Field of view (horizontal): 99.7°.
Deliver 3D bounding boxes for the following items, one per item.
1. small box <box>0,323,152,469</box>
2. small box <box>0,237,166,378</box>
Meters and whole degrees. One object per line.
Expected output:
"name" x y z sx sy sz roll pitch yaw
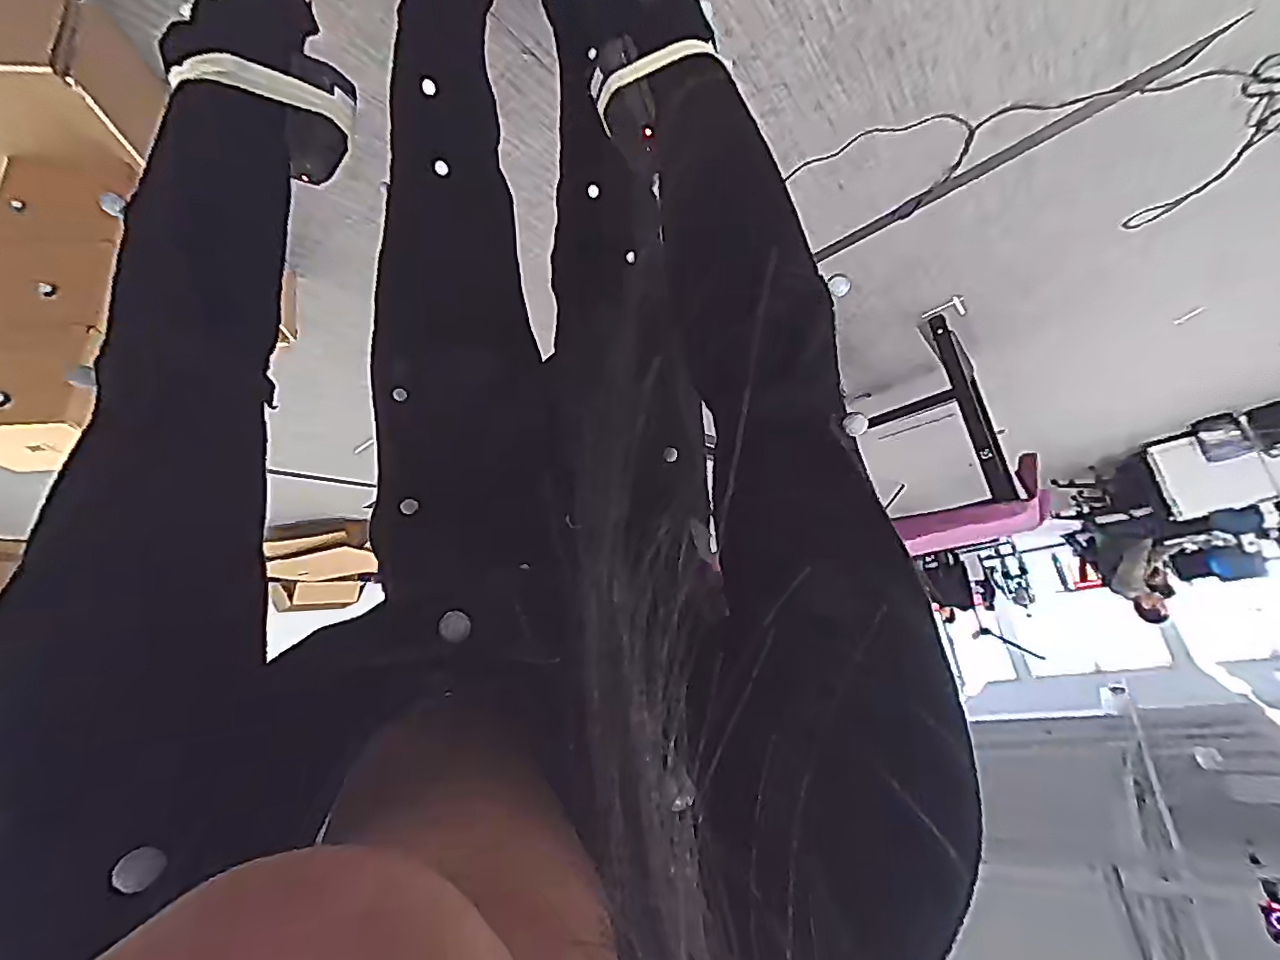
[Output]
"small box" -0.919 -0.129 0.843 0.179 0.176 0.168 -4 161 -13
"small box" -0.936 -0.281 0.902 0.179 0.176 0.168 -4 161 -14
